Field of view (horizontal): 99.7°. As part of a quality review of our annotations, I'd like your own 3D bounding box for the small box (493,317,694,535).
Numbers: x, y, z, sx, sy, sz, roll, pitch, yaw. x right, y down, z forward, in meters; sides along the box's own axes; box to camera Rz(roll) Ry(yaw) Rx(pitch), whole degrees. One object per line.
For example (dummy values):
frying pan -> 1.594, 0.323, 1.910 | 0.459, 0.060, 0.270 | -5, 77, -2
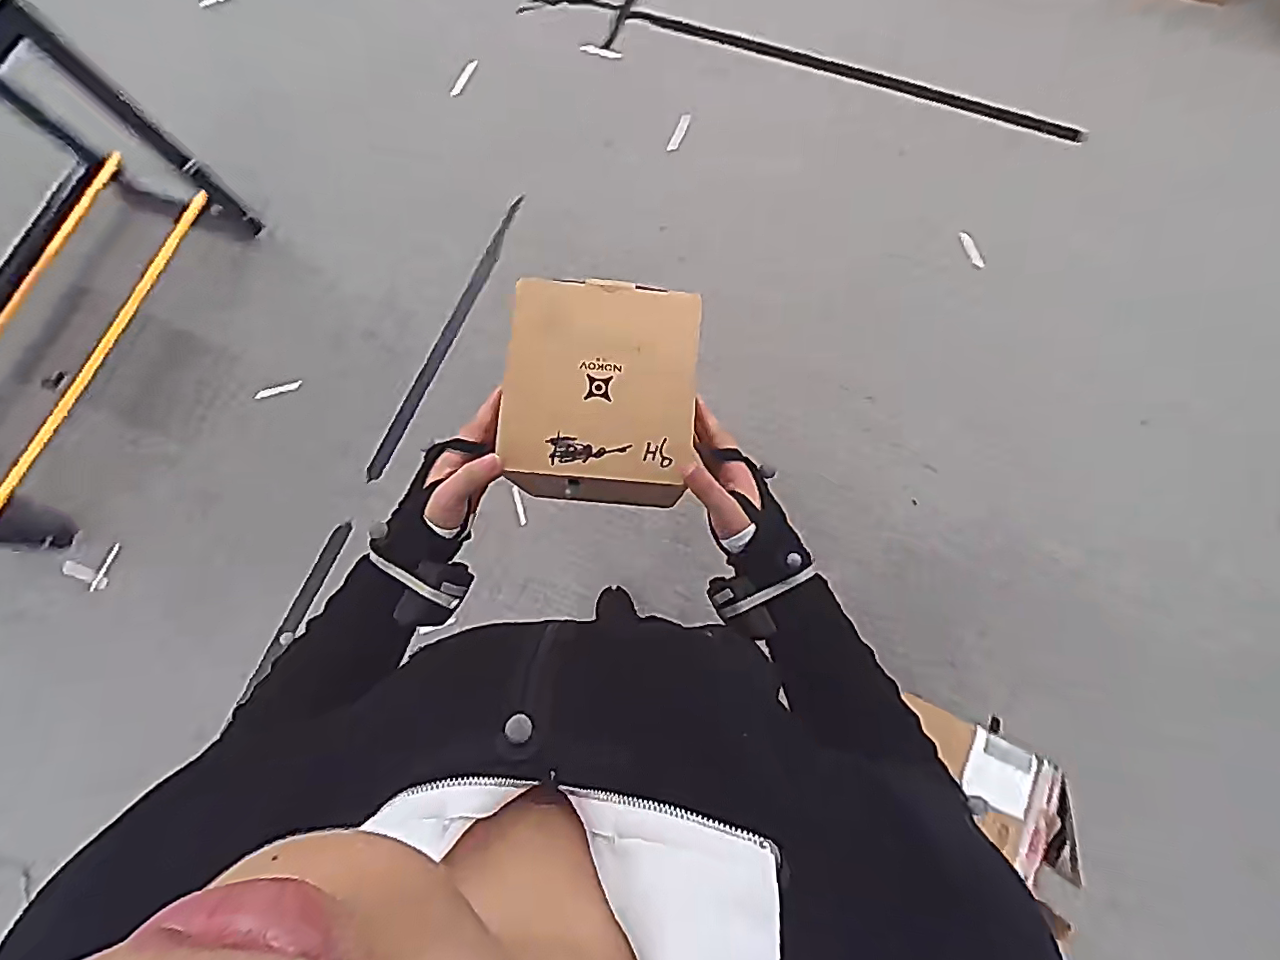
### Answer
small box -> -0.042, -0.042, 0.554 | 0.168, 0.176, 0.179 | 4, 80, -1
